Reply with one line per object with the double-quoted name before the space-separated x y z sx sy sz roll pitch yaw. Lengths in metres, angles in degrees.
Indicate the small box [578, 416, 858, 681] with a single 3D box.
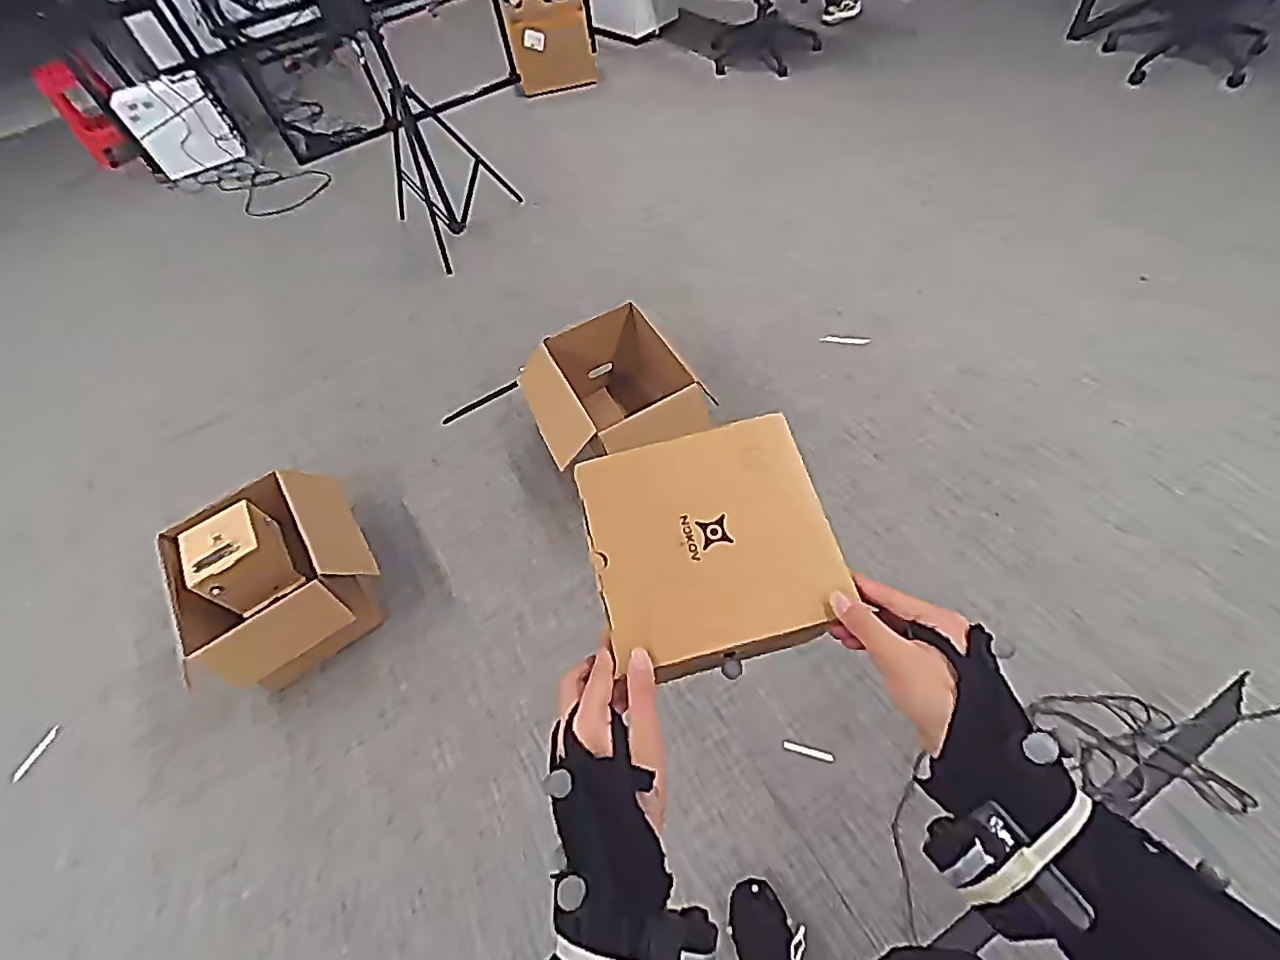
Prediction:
"small box" 0.056 0.071 0.477 0.179 0.176 0.168 -15 66 -2
